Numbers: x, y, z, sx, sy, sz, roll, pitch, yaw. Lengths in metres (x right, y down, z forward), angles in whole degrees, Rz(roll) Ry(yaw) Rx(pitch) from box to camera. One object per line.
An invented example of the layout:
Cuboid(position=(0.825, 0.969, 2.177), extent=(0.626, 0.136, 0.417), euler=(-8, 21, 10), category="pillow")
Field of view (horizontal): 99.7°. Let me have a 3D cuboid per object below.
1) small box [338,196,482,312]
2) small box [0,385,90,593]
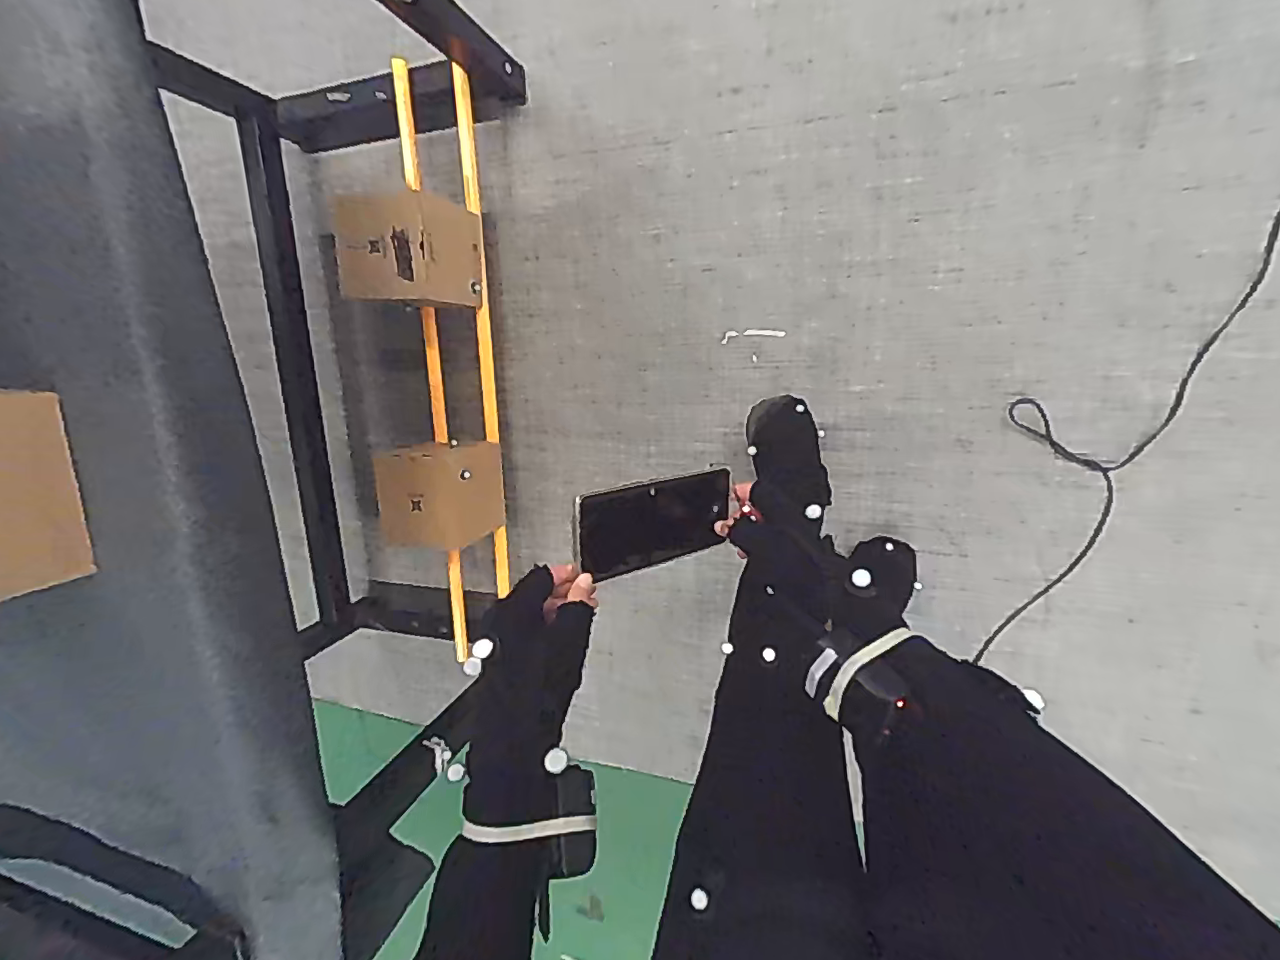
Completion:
Cuboid(position=(-0.396, -0.393, 0.963), extent=(0.179, 0.176, 0.168), euler=(6, 103, 16), category="small box")
Cuboid(position=(-0.624, 0.012, 0.456), extent=(0.168, 0.176, 0.179), euler=(6, 104, 17), category="small box")
